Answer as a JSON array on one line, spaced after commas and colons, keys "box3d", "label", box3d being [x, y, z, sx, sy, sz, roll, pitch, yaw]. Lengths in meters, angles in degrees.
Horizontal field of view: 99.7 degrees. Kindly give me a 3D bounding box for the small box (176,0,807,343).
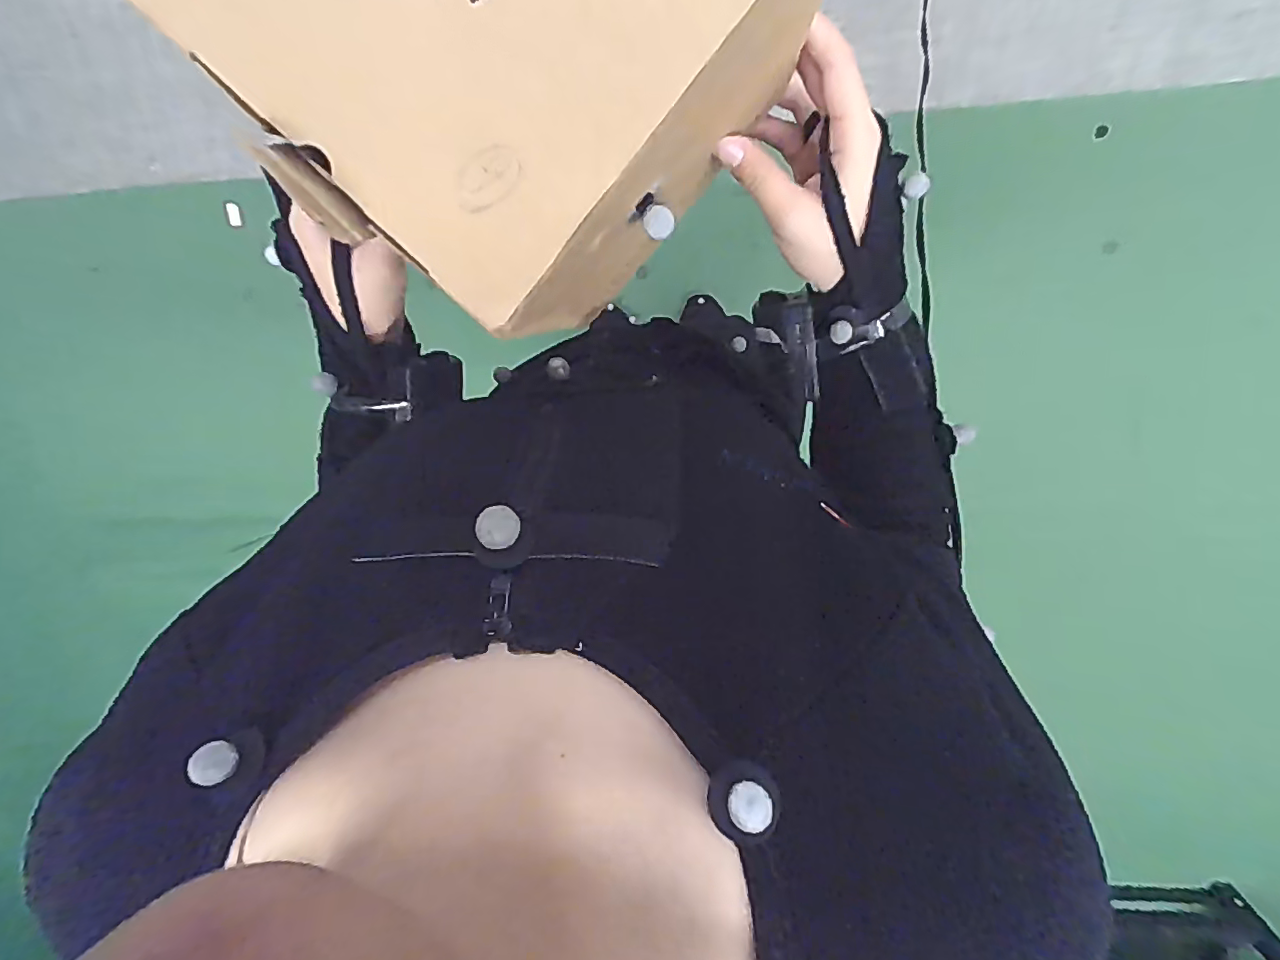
[{"box3d": [-0.042, -0.187, 0.253, 0.168, 0.176, 0.179, 42, 107, -7], "label": "small box"}]
